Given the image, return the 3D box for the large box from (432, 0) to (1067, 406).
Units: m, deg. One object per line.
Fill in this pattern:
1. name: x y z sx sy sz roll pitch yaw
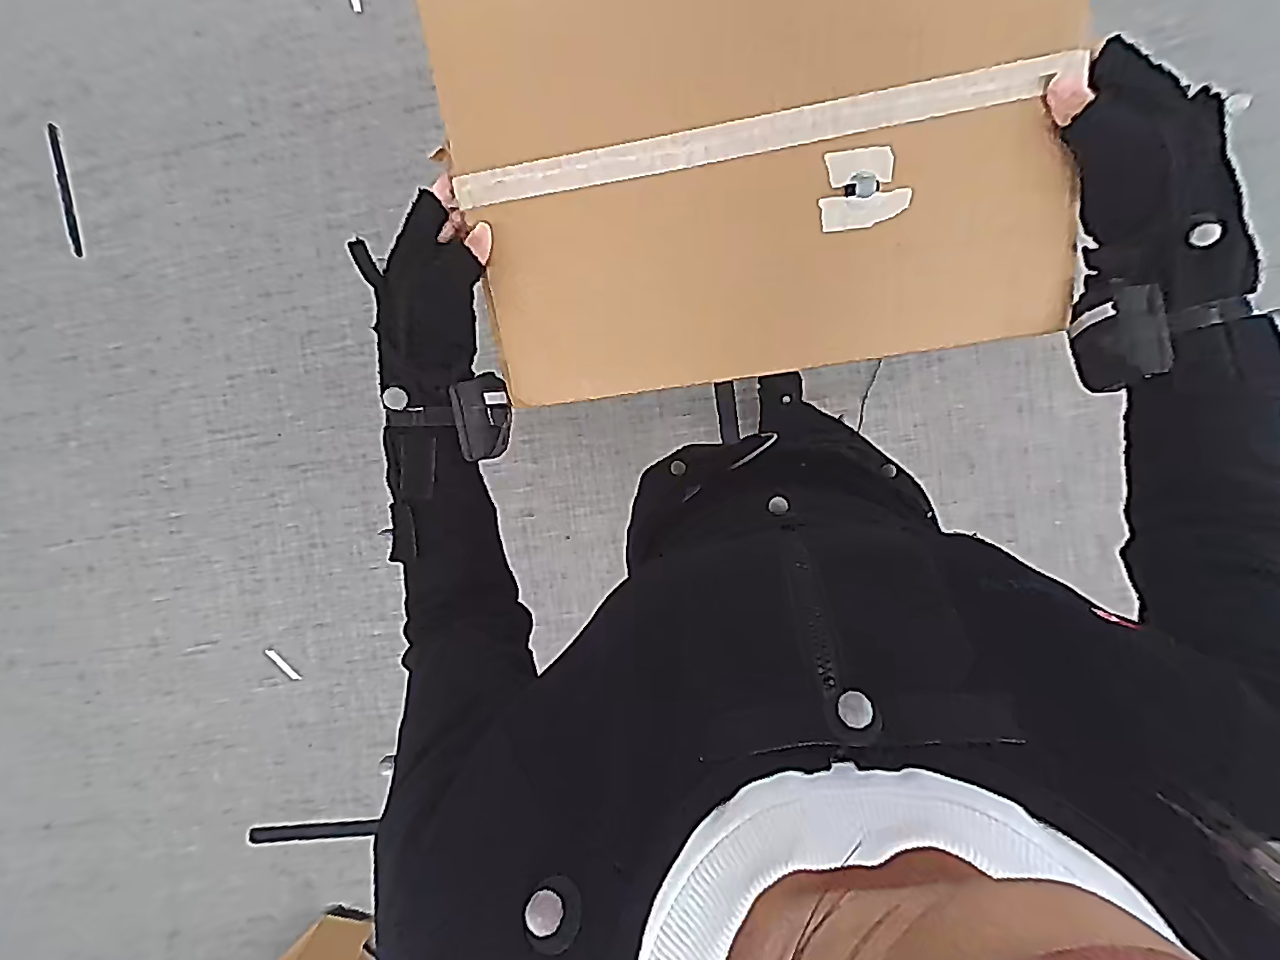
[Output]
1. large box: 0.085 -0.274 0.513 0.408 0.320 0.320 -8 107 6
